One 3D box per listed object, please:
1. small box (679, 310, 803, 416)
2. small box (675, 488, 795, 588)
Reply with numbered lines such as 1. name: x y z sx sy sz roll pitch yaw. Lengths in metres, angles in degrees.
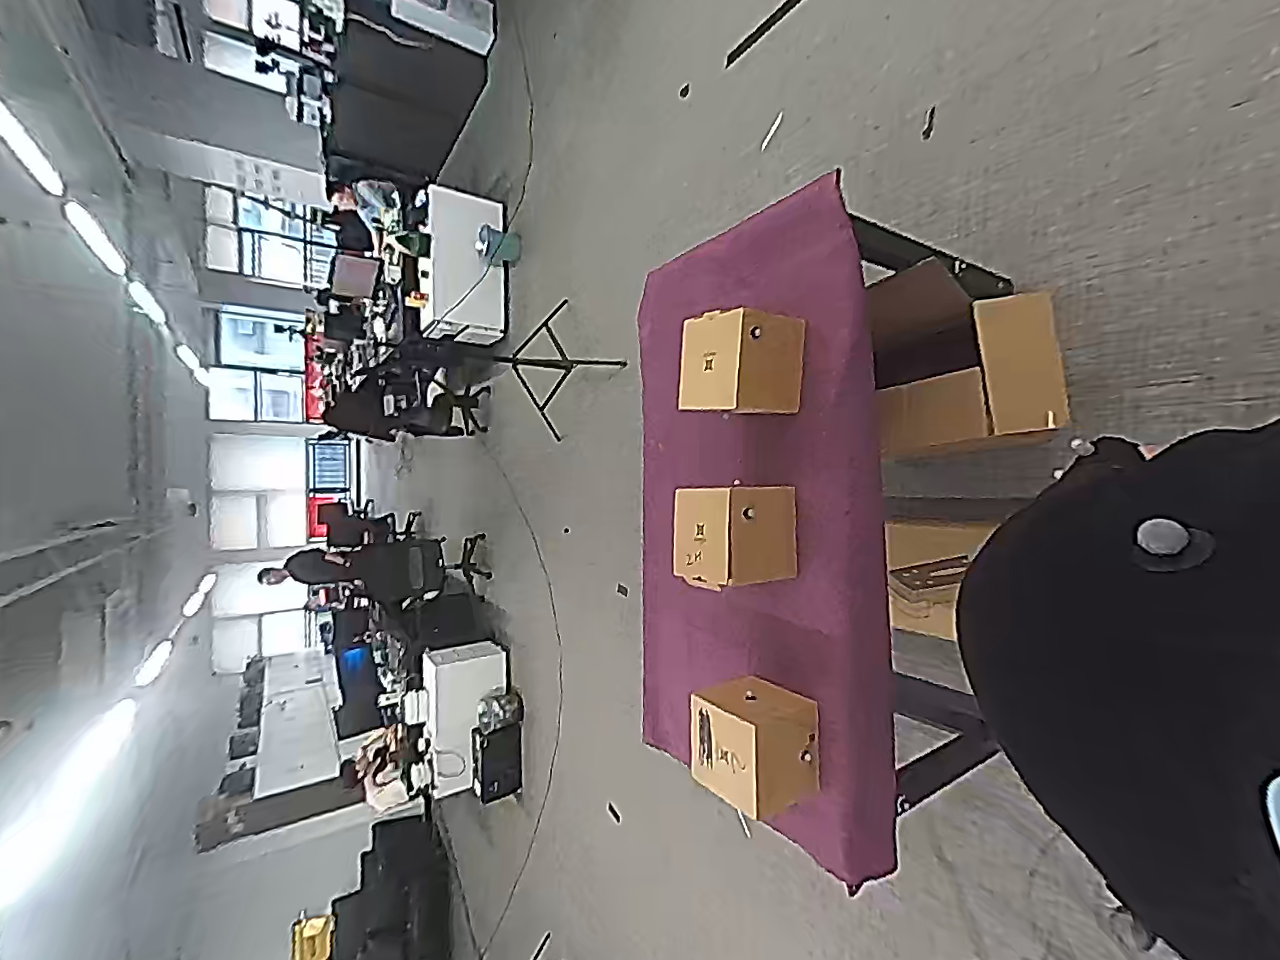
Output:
1. small box: 0.192 -0.214 1.038 0.168 0.176 0.179 10 99 56
2. small box: 0.184 0.104 1.053 0.168 0.176 0.179 -3 88 59
